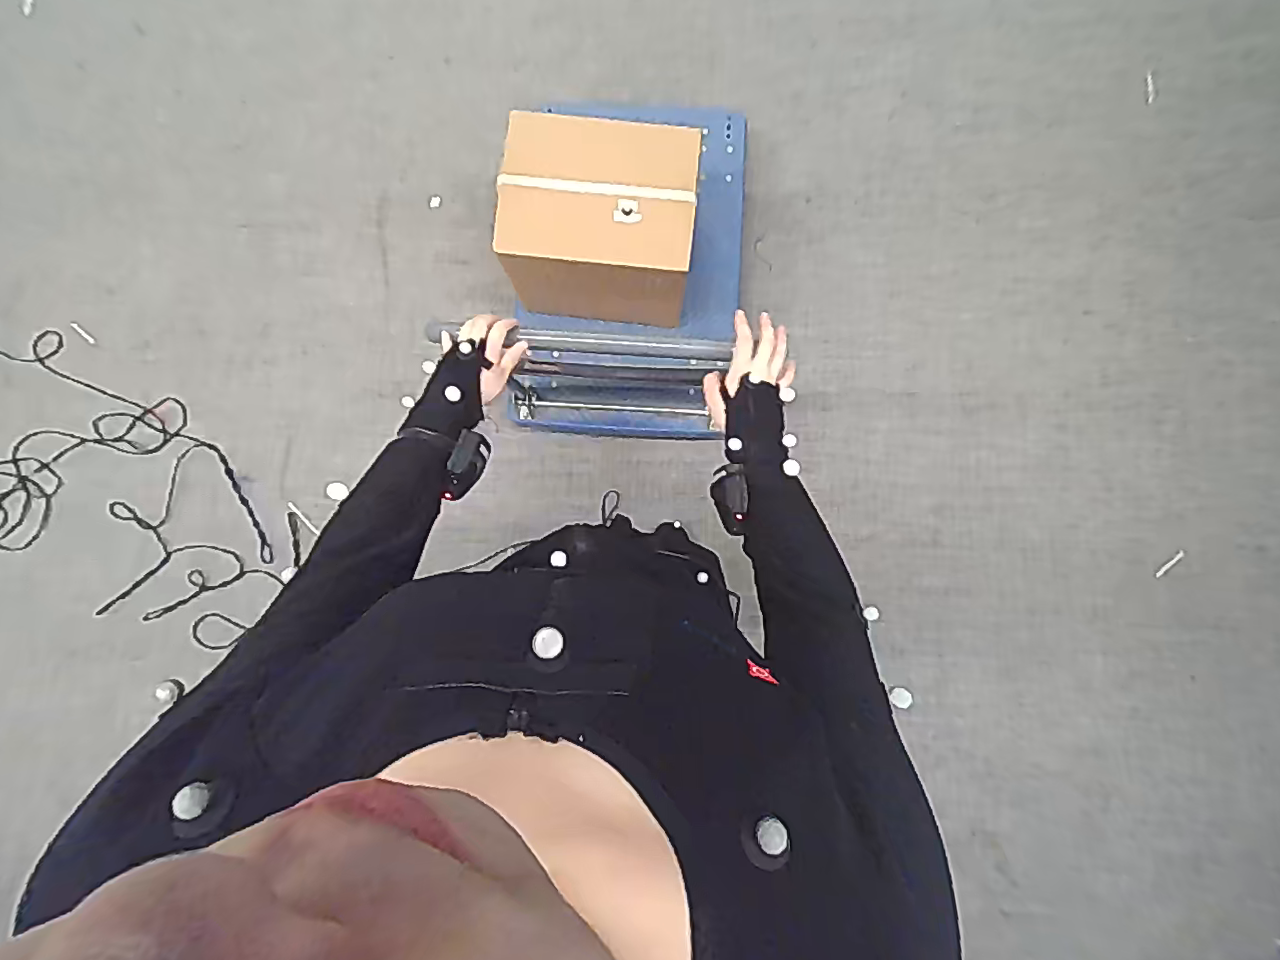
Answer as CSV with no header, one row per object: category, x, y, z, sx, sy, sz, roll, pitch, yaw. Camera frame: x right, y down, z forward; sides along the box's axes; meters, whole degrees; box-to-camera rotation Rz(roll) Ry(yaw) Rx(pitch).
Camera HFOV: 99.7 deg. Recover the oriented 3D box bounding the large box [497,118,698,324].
large box,-0.091,-0.585,1.277,0.408,0.320,0.320,6,85,-1
